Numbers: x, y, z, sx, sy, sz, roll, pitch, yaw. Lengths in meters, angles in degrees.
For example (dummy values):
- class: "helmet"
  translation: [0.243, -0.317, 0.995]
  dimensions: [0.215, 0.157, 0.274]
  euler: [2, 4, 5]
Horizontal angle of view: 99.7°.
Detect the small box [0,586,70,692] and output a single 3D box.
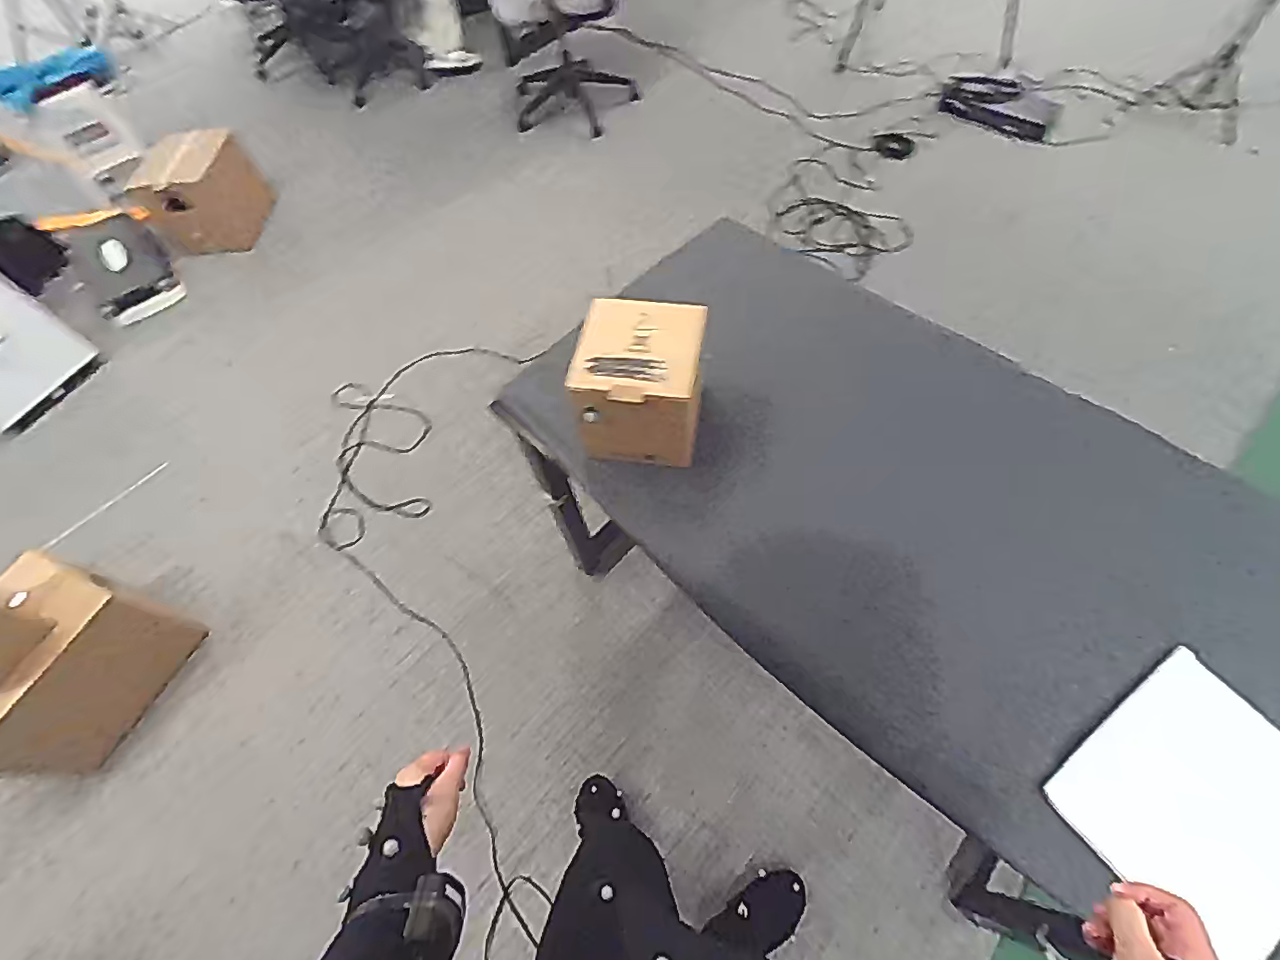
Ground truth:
- class: "small box"
  translation: [-1.419, 0.333, 1.164]
  dimensions: [0.168, 0.176, 0.179]
  euler: [21, 63, 15]
